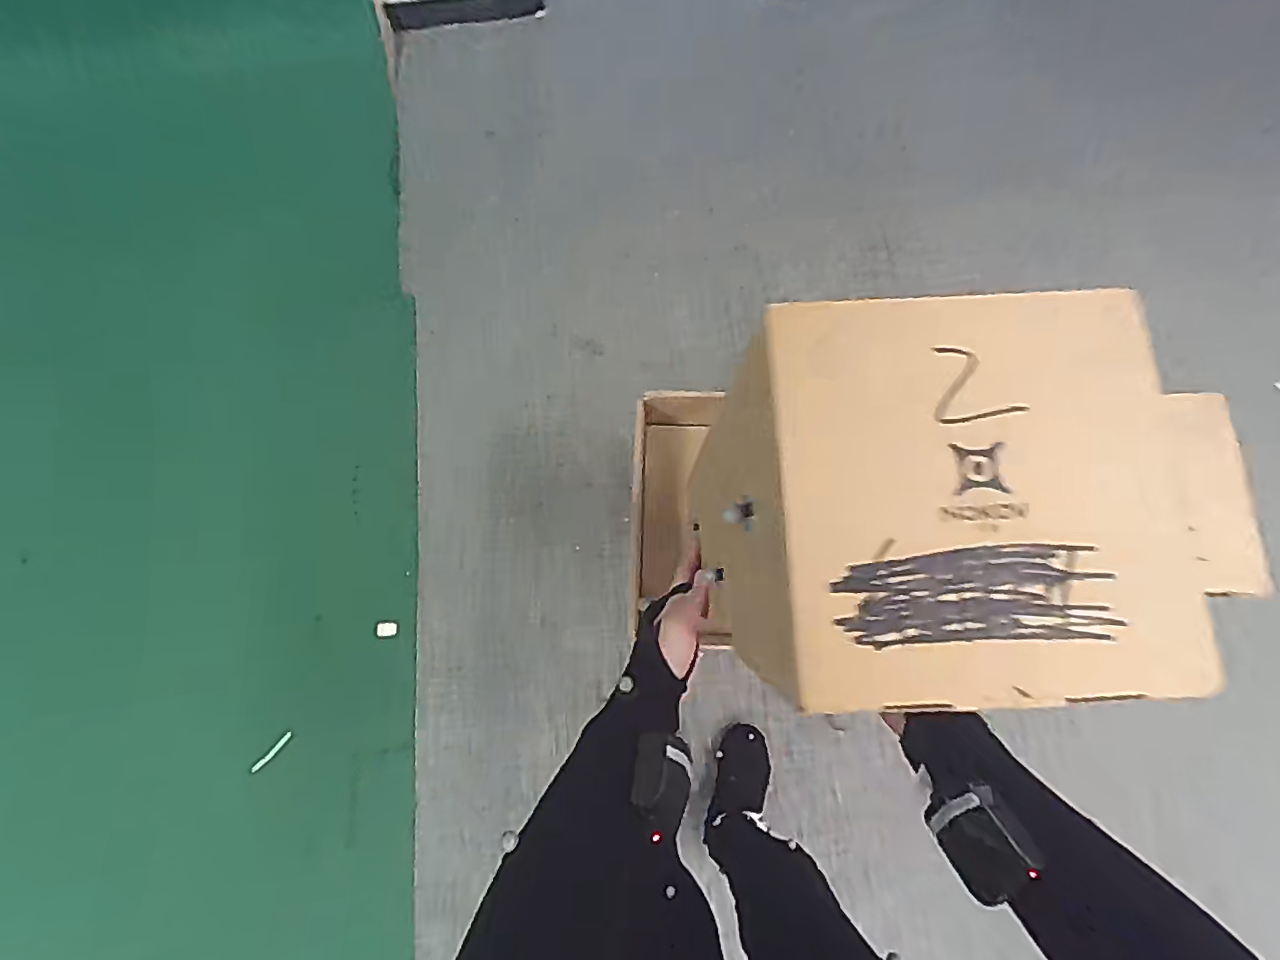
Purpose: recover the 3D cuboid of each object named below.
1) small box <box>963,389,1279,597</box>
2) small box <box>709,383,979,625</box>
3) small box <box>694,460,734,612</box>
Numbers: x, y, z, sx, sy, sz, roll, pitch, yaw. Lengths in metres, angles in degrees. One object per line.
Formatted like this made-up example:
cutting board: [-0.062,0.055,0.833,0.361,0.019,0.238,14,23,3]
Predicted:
small box: [0.437,0.022,0.529,0.168,0.176,0.179,0,78,2]
small box: [0.152,0.028,0.465,0.168,0.176,0.179,0,81,0]
small box: [0.152,0.059,0.623,0.168,0.176,0.179,0,80,1]
